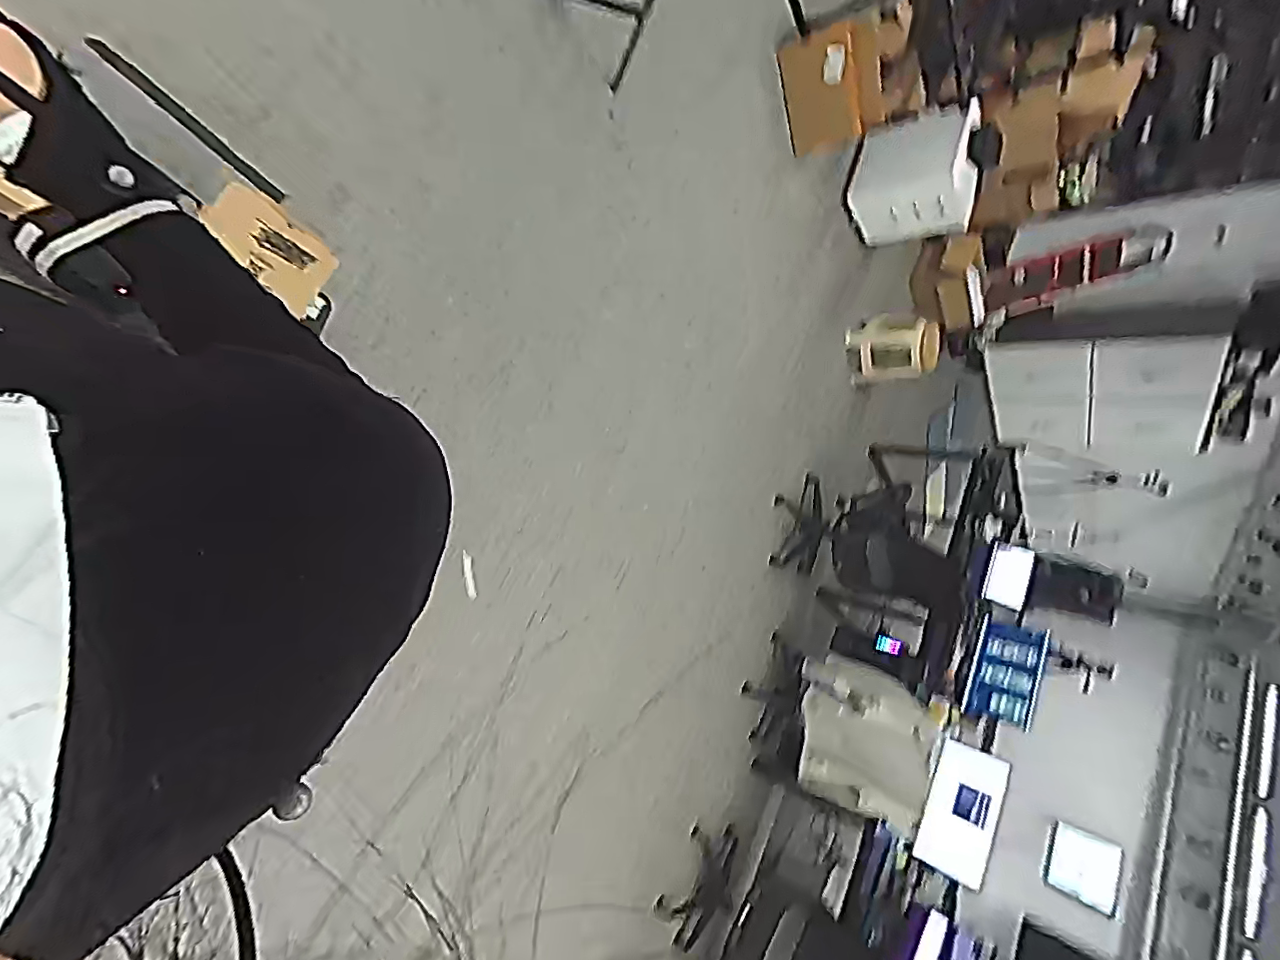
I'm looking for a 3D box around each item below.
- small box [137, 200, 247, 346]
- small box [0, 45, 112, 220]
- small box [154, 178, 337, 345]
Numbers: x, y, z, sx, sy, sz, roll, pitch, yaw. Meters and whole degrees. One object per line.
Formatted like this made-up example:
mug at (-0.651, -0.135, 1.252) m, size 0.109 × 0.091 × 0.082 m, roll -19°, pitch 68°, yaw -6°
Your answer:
small box at (-0.760, -0.360, 0.973) m, size 0.168 × 0.176 × 0.179 m, roll 40°, pitch 69°, yaw -42°
small box at (-0.921, -0.500, 0.776) m, size 0.179 × 0.176 × 0.168 m, roll 39°, pitch 70°, yaw -43°
small box at (-0.635, -0.338, 0.868) m, size 0.168 × 0.176 × 0.179 m, roll 40°, pitch 69°, yaw -42°
